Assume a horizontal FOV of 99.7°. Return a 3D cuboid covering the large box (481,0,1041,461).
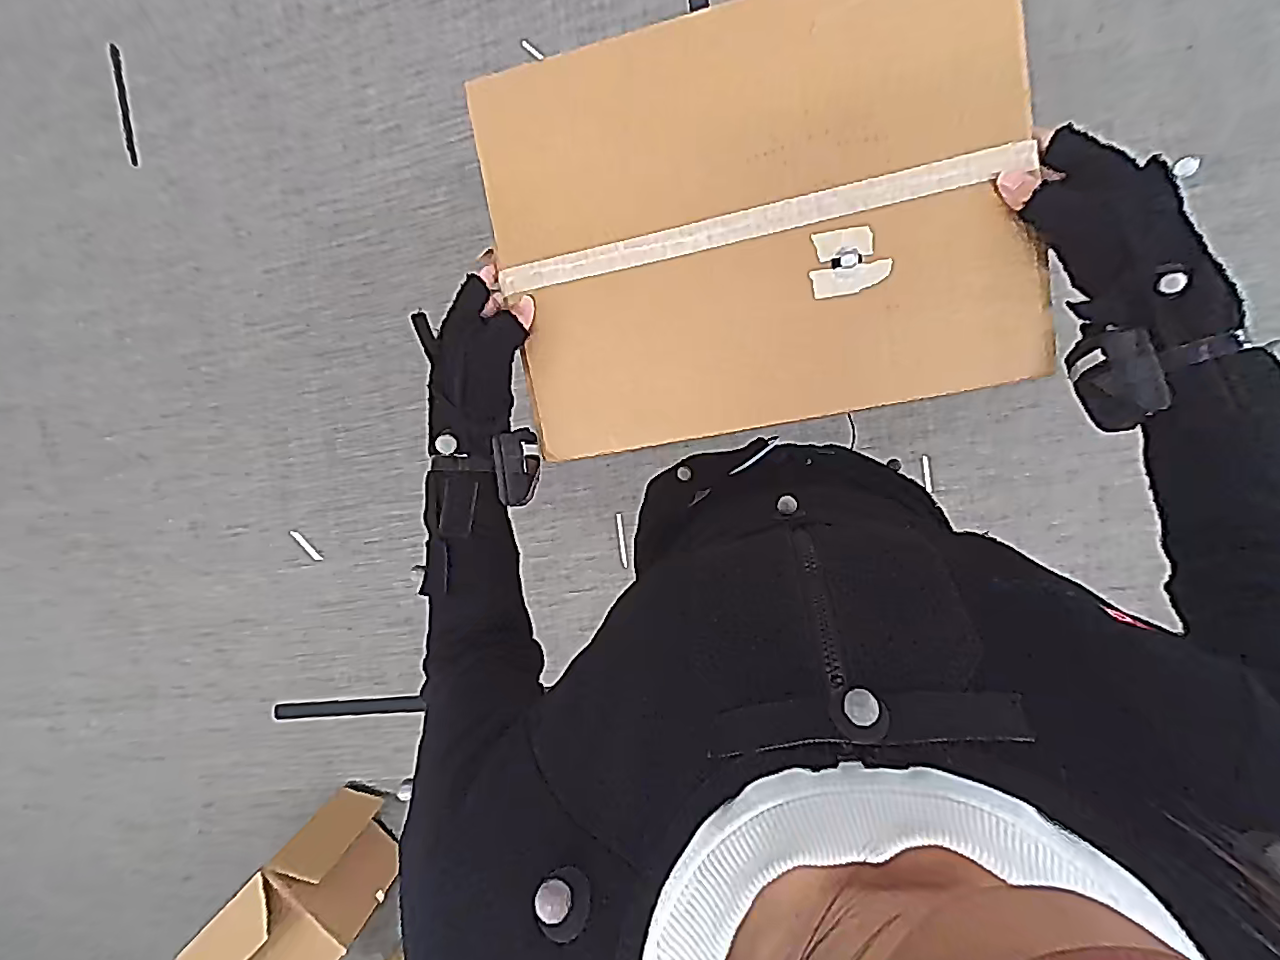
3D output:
[{"bbox_3d":[0.107,-0.220,0.578,0.408,0.320,0.320,-10,97,9],"label":"large box"}]
